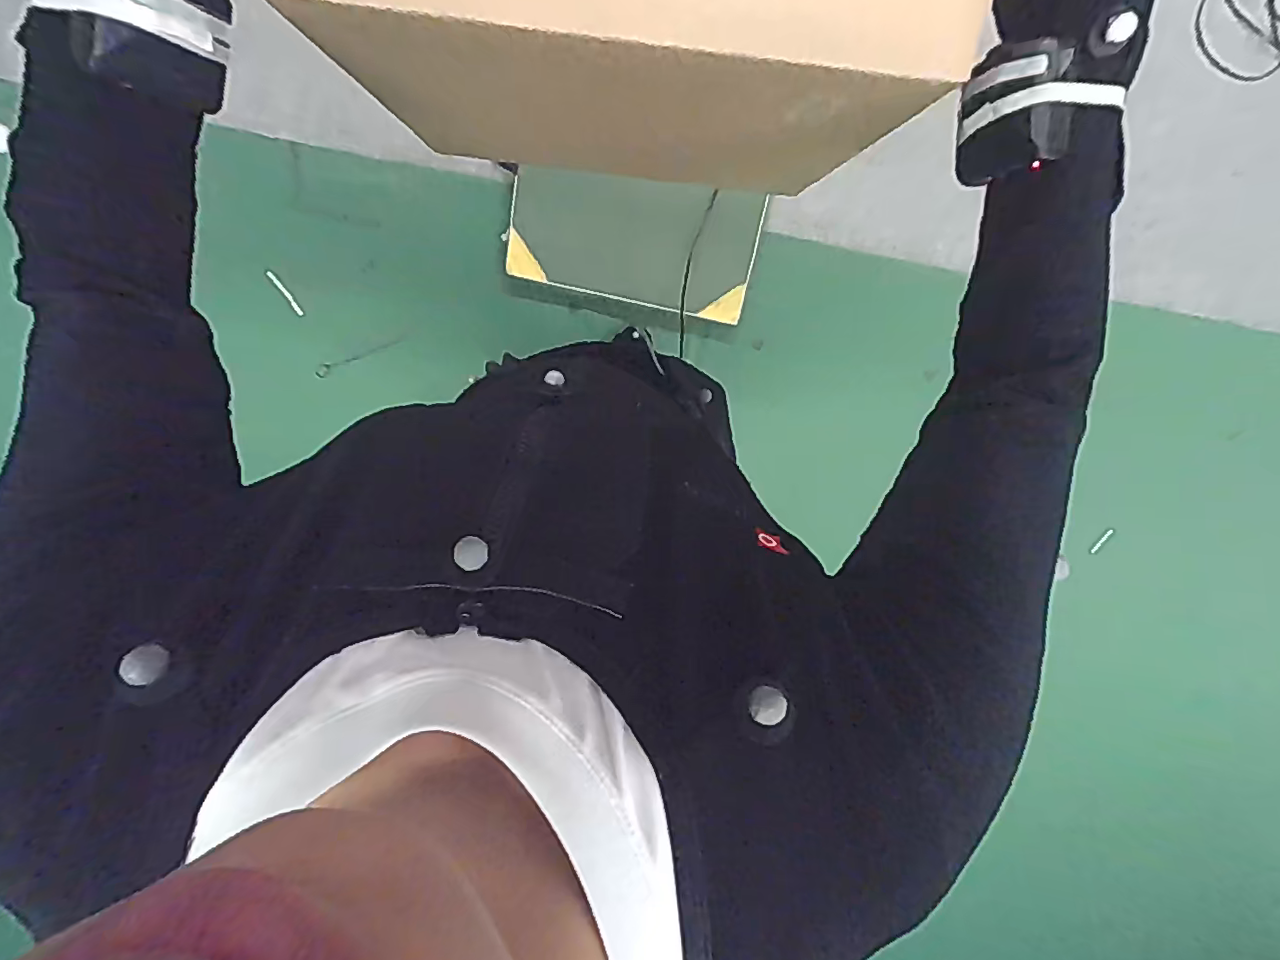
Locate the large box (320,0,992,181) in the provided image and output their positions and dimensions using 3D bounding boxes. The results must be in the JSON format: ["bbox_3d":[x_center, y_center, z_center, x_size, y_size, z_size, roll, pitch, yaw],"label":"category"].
[{"bbox_3d":[0.007,-0.448,0.408,0.408,0.320,0.320,4,107,-5],"label":"large box"}]
